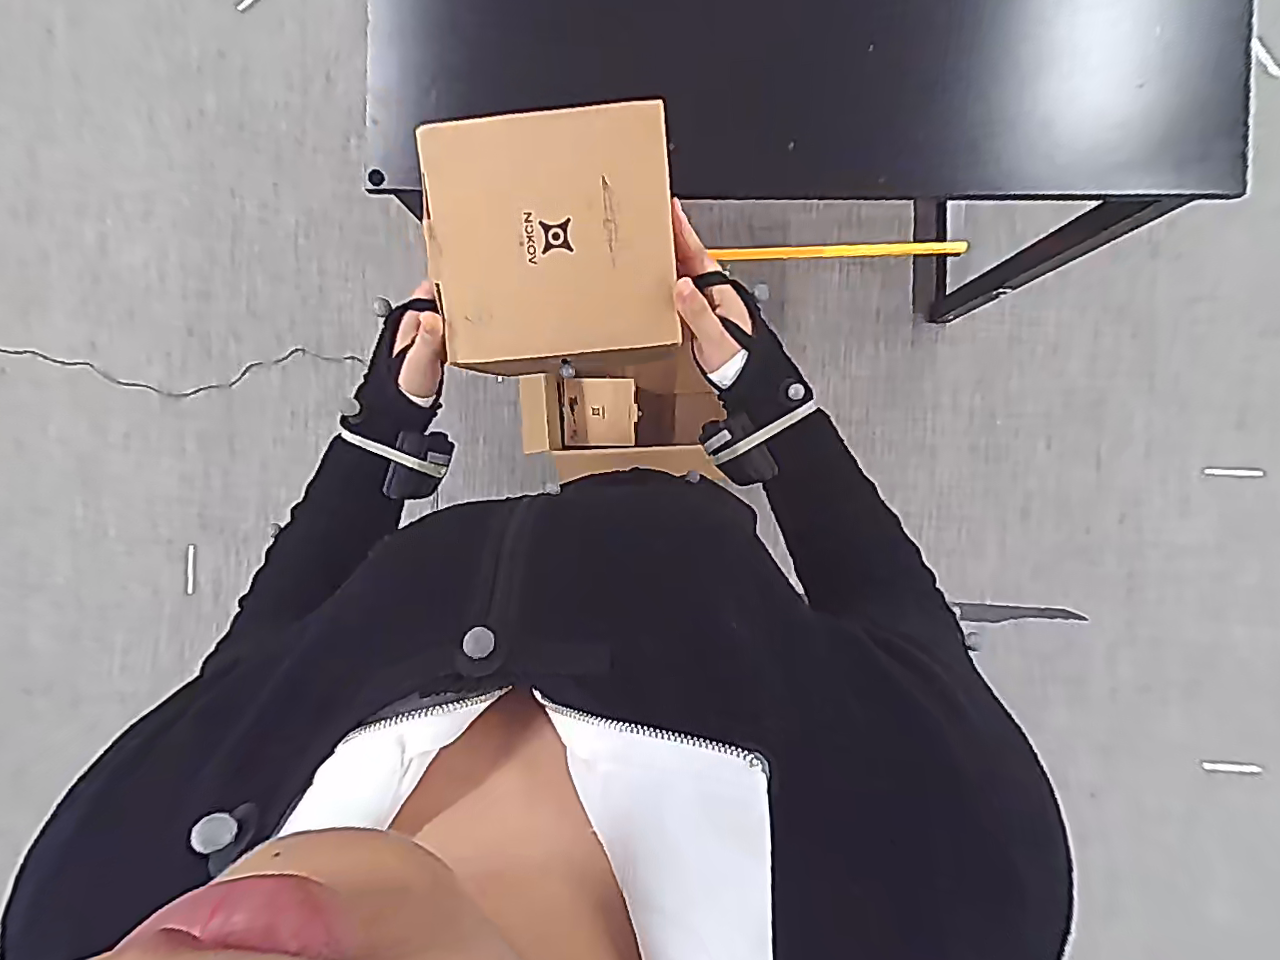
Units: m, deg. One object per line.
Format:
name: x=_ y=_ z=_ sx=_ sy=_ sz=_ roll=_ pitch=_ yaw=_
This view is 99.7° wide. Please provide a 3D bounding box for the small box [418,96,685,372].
small box: x=-0.059 y=-0.184 z=0.457 sx=0.179 sy=0.176 sz=0.168 roll=-5 pitch=99 yaw=0
